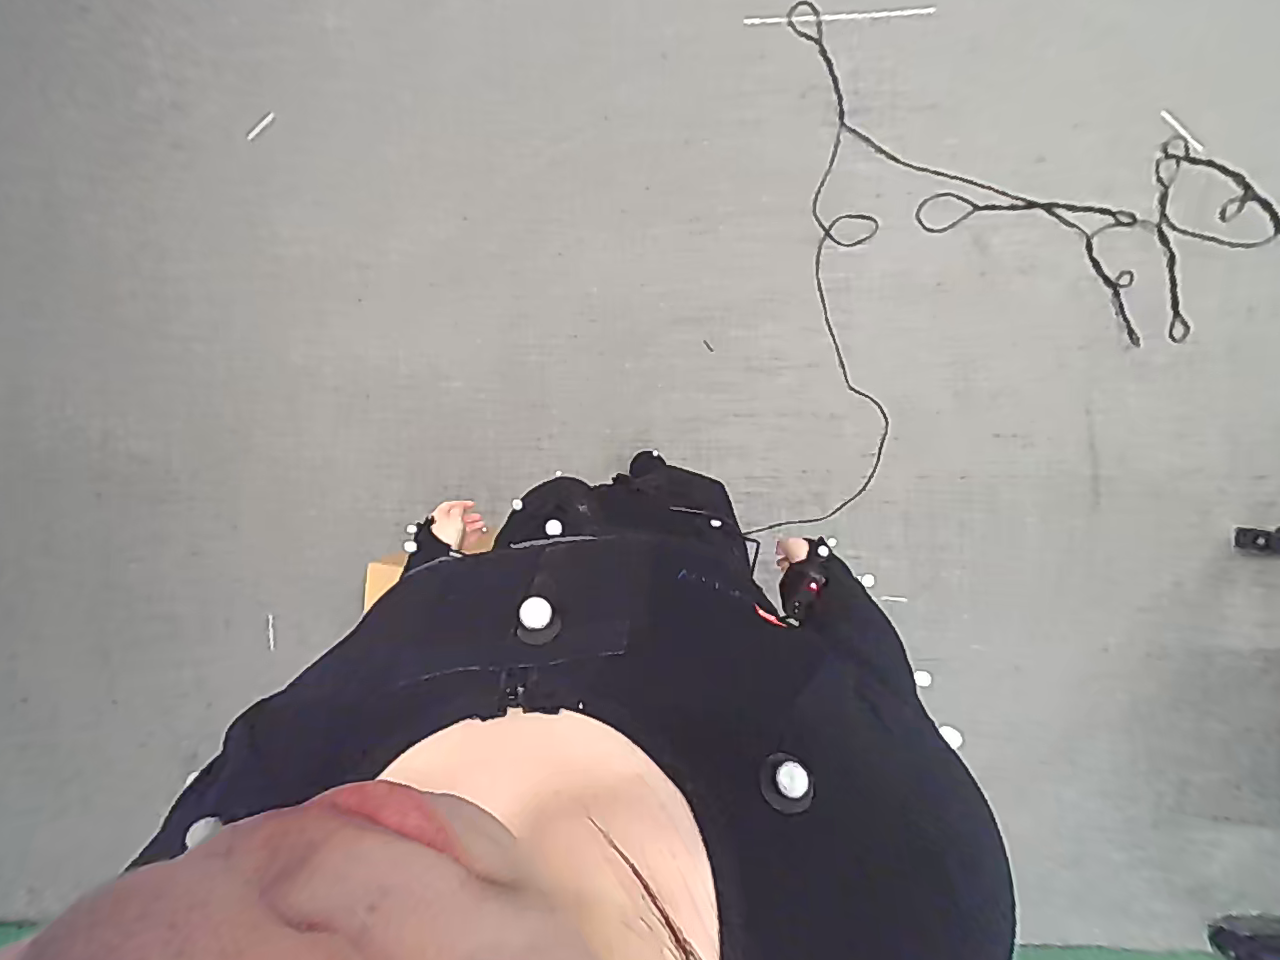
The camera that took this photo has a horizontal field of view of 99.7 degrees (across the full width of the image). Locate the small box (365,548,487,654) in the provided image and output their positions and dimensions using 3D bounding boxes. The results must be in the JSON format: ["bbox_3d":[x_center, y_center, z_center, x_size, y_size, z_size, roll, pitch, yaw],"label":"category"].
[{"bbox_3d":[-0.436,0.241,1.122,0.179,0.176,0.168,6,95,1],"label":"small box"}]

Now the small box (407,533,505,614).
[{"bbox_3d":[-0.435,0.224,1.284,0.179,0.176,0.168,4,95,2],"label":"small box"}]

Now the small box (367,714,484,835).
[{"bbox_3d":[-0.450,0.620,1.154,0.179,0.176,0.168,-2,96,2],"label":"small box"}]

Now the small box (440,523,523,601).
[{"bbox_3d":[-0.425,0.214,1.448,0.179,0.176,0.168,6,95,1],"label":"small box"}]
